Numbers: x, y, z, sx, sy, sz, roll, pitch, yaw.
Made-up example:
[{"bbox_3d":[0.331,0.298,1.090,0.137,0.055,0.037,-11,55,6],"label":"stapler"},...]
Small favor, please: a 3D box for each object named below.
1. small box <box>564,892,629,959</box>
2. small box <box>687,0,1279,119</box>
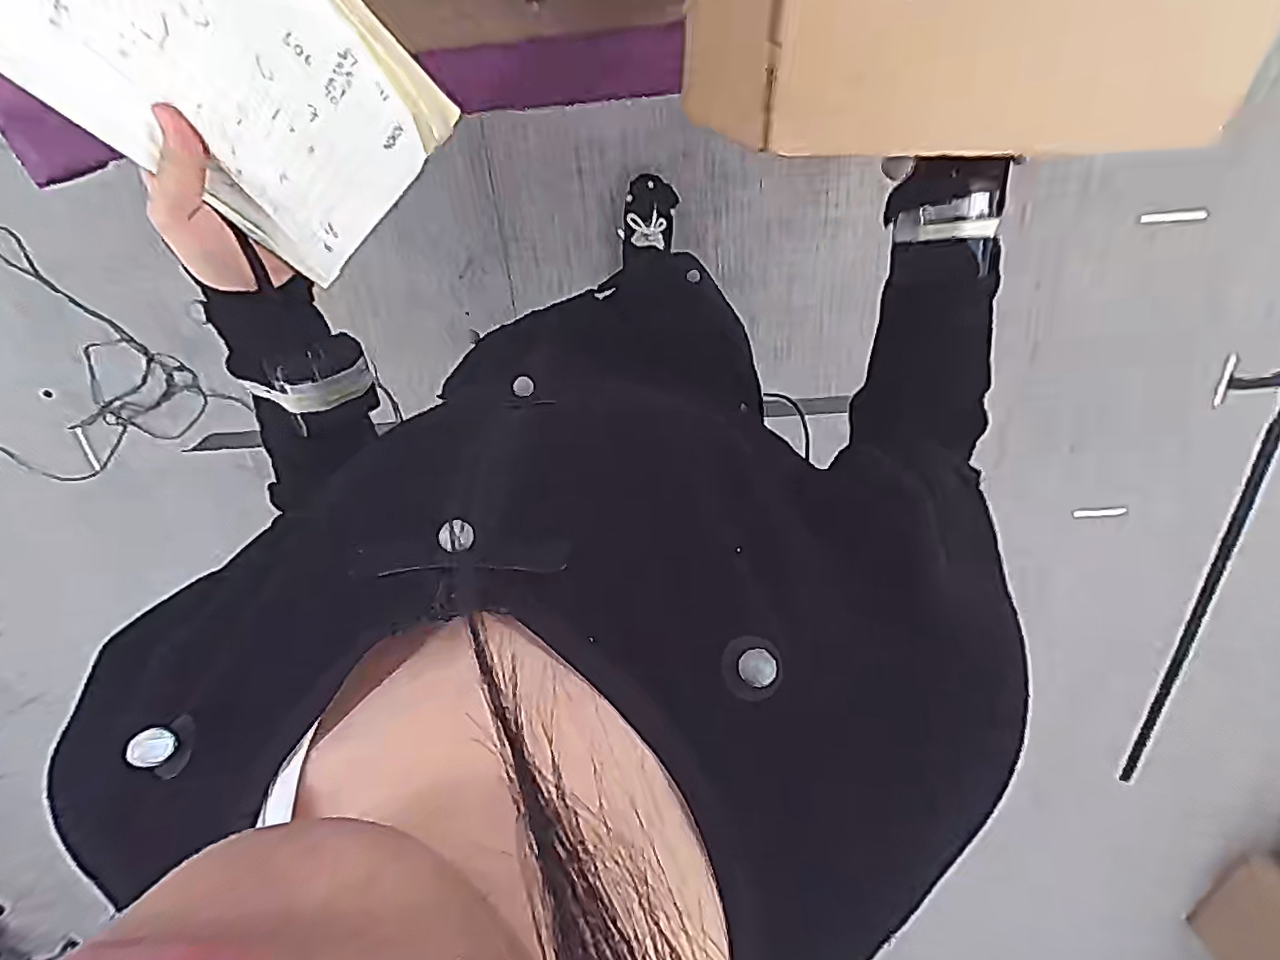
[{"bbox_3d":[-0.122,1.337,1.577,0.179,0.176,0.168,-1,116,-1],"label":"small box"},{"bbox_3d":[0.116,-0.240,0.203,0.179,0.176,0.168,-5,129,-4],"label":"small box"}]
